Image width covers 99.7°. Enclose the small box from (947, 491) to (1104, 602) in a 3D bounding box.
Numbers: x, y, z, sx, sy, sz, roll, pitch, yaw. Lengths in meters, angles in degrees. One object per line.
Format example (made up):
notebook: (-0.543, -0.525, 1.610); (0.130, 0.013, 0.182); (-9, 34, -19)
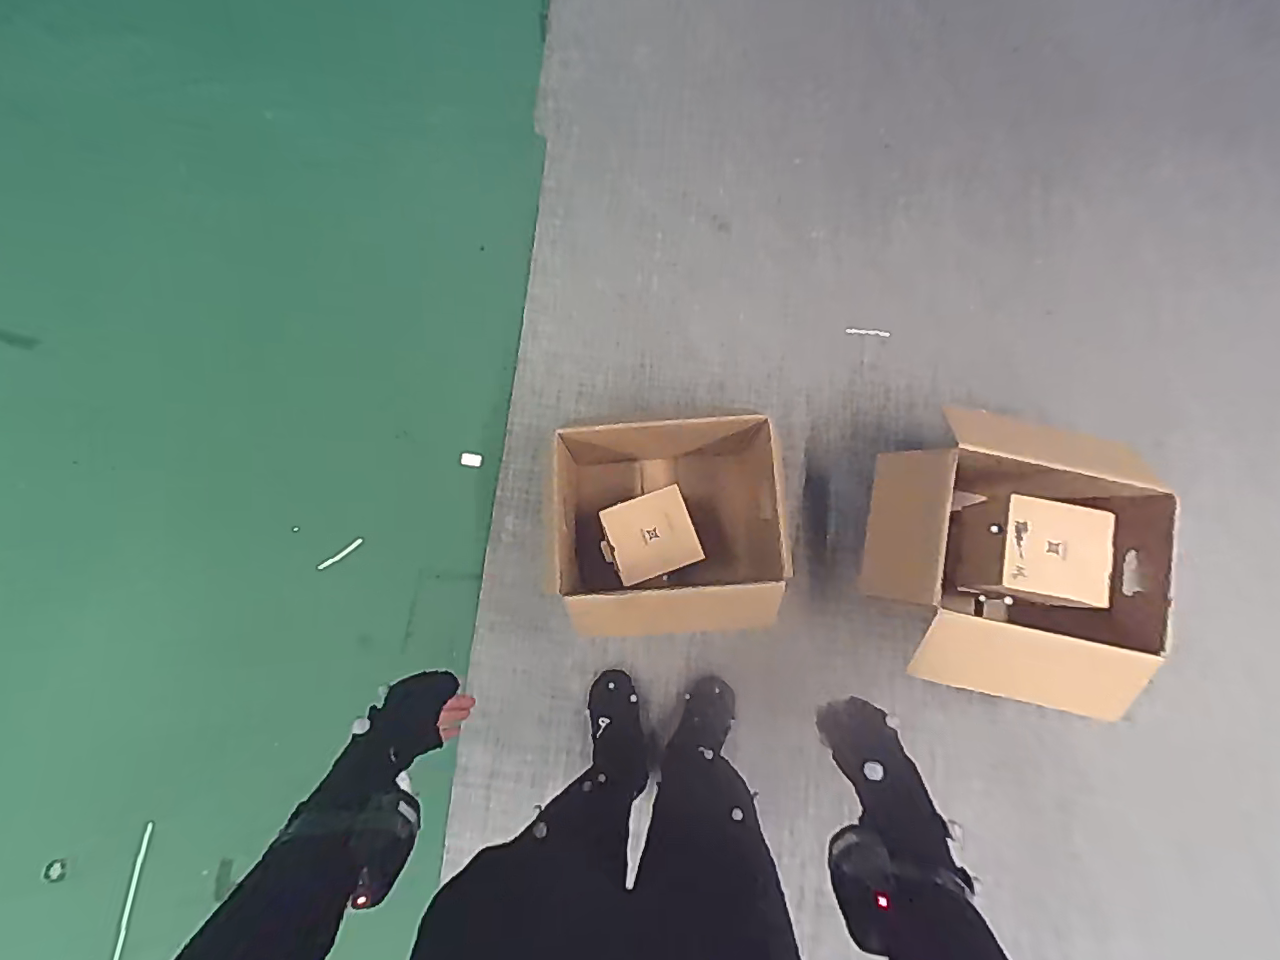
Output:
small box: (0.716, 0.127, 1.017); (0.179, 0.176, 0.168); (11, 79, 3)
